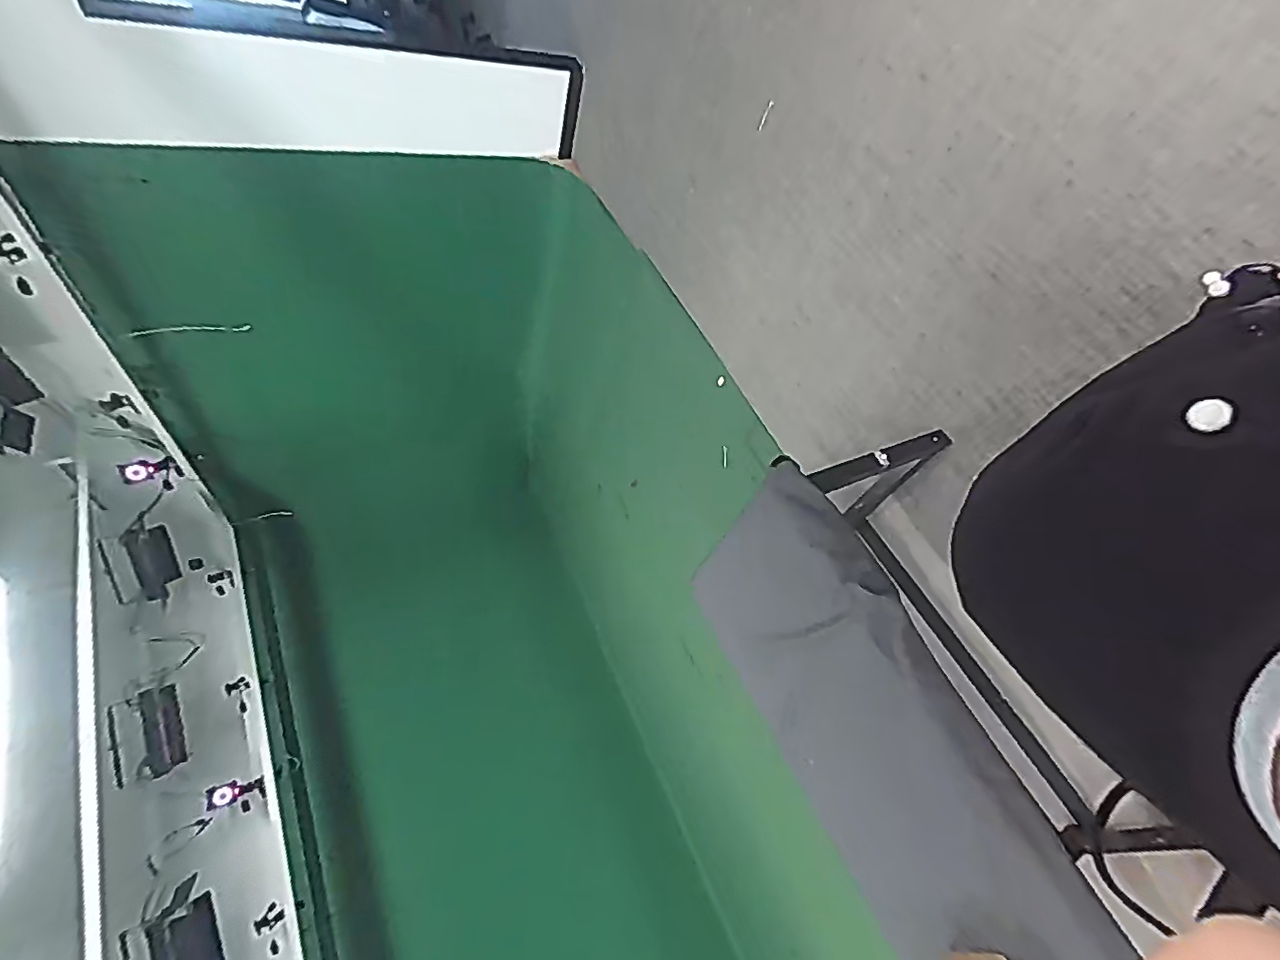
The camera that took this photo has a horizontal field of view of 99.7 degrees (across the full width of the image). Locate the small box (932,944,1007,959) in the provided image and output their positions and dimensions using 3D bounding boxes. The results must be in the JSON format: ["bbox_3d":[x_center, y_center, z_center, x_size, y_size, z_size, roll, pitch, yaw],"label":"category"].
[{"bbox_3d":[0.662,1.054,1.060,0.168,0.176,0.179,59,149,29],"label":"small box"}]
